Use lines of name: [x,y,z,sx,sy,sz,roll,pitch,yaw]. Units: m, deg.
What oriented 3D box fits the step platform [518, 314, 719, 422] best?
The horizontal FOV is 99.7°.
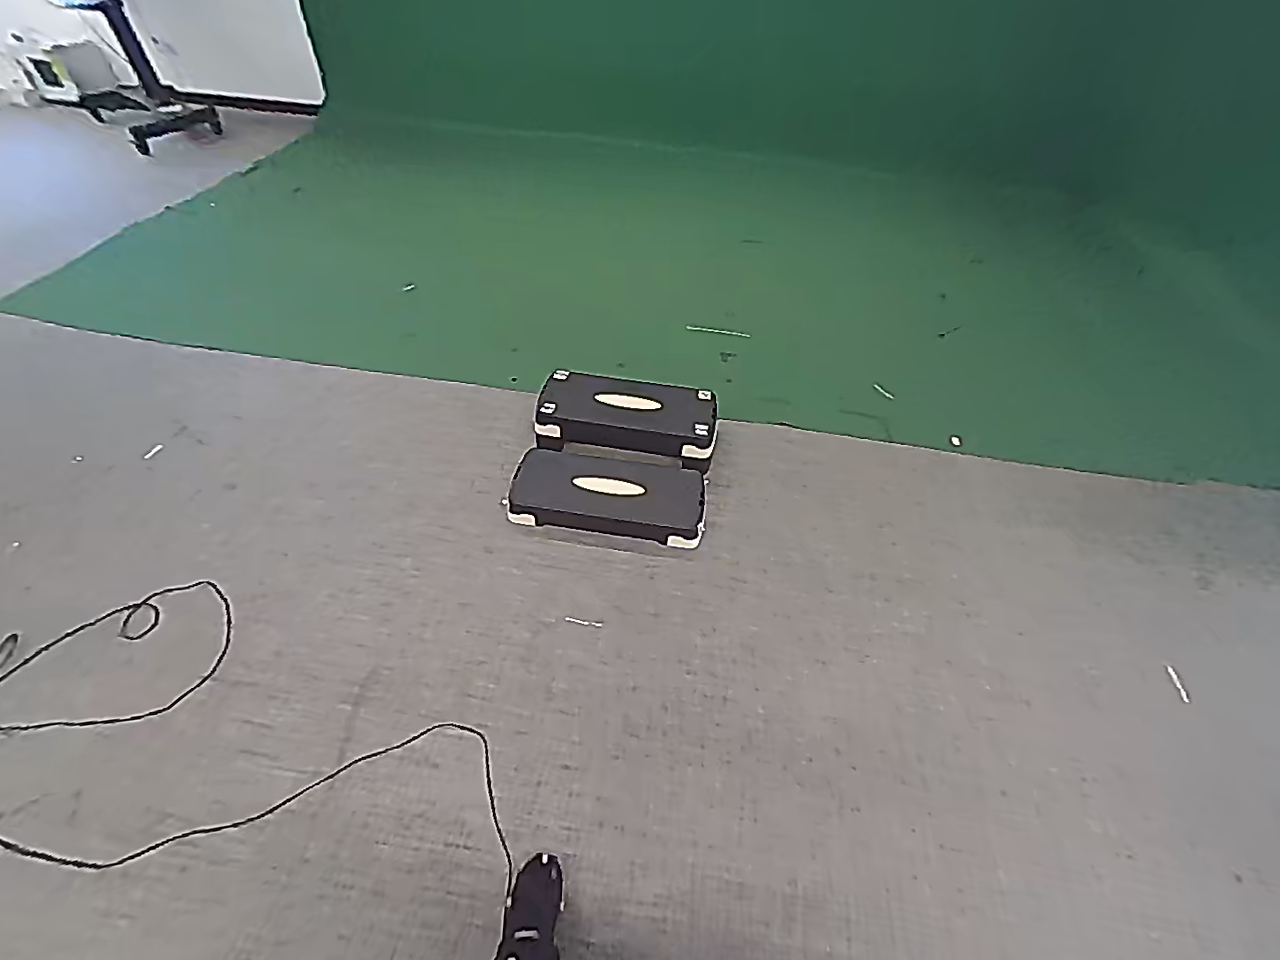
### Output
step platform: [-0.073,-0.400,1.933,0.684,0.204,0.286,8,49,4]
